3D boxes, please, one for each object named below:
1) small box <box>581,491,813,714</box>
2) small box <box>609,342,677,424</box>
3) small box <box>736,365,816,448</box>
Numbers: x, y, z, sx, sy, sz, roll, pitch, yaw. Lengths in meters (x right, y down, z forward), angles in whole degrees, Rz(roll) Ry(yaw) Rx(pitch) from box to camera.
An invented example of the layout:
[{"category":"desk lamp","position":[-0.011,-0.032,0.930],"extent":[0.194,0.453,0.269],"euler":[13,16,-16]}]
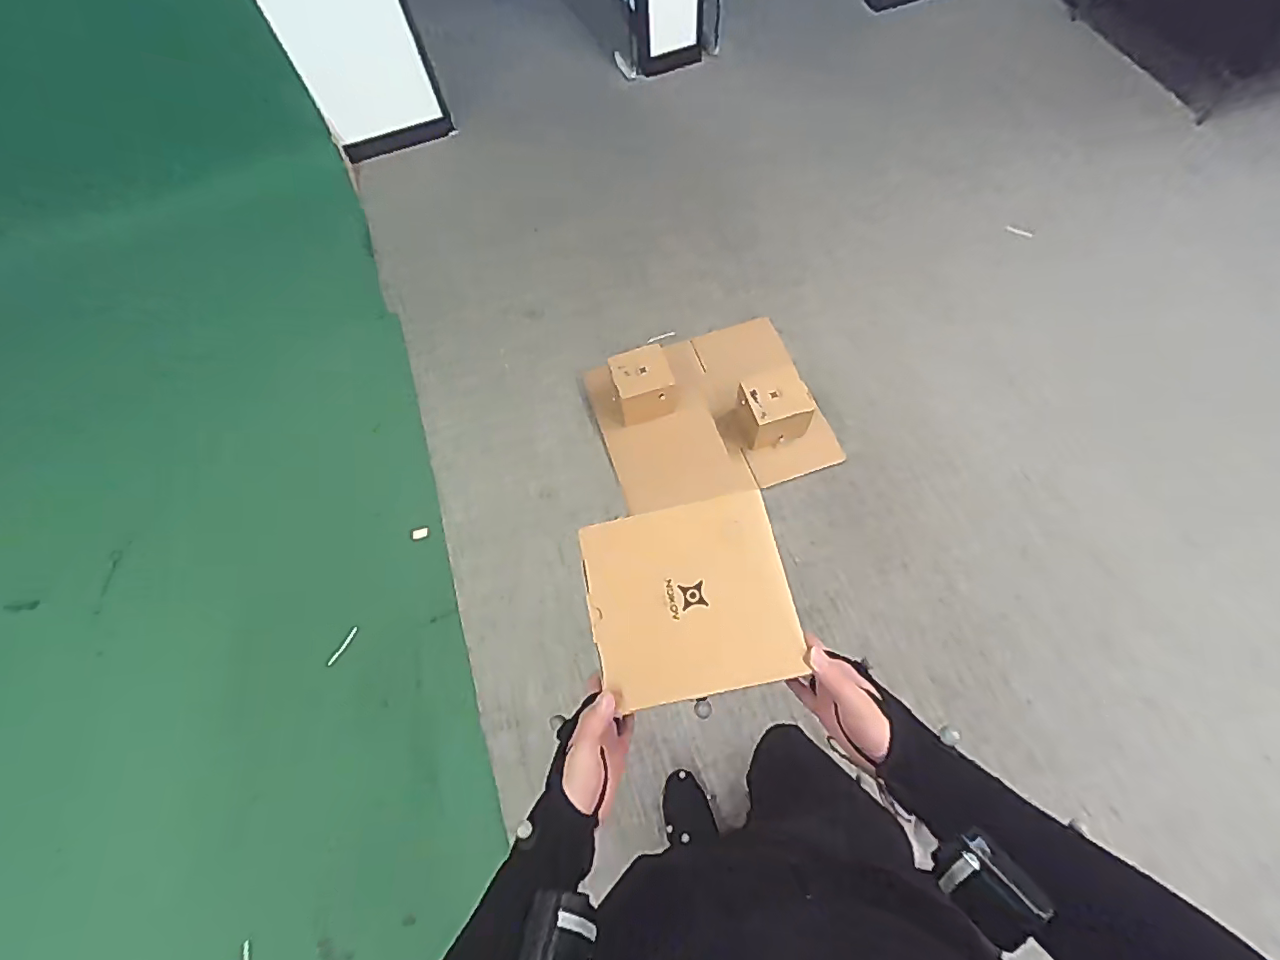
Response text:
[{"category":"small box","position":[0.052,0.127,0.547],"extent":[0.179,0.176,0.168],"euler":[-13,70,3]},{"category":"small box","position":[0.010,-0.305,1.723],"extent":[0.179,0.176,0.168],"euler":[-17,66,-3]},{"category":"small box","position":[0.411,-0.222,1.666],"extent":[0.179,0.176,0.168],"euler":[-16,66,-3]}]
